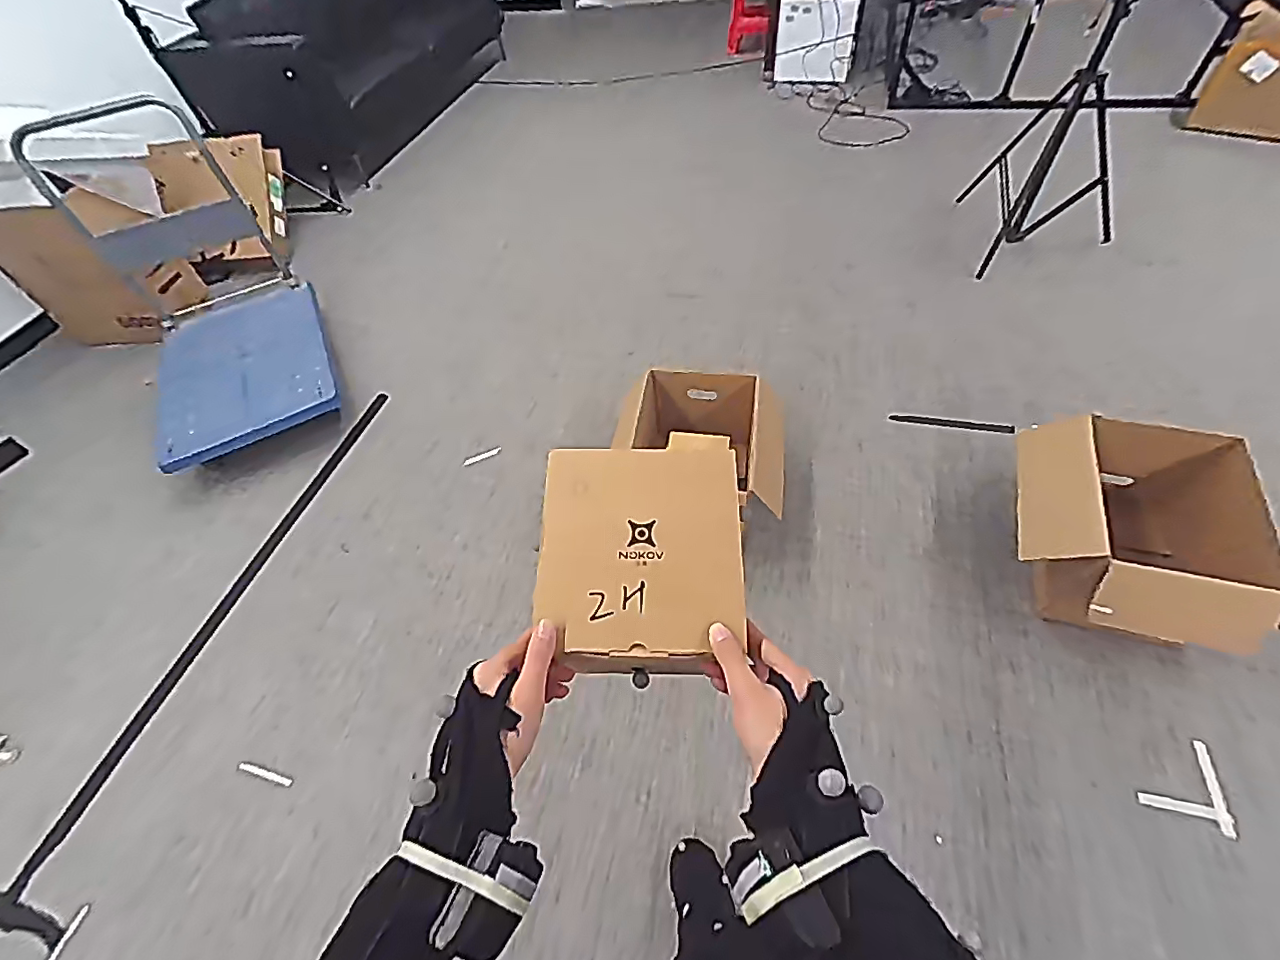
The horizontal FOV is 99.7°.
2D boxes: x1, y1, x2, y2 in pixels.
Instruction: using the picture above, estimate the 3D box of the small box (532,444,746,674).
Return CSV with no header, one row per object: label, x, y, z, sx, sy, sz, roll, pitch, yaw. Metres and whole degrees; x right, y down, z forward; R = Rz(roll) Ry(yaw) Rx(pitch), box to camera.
small box,0.003,0.082,0.515,0.168,0.176,0.179,0,65,2
